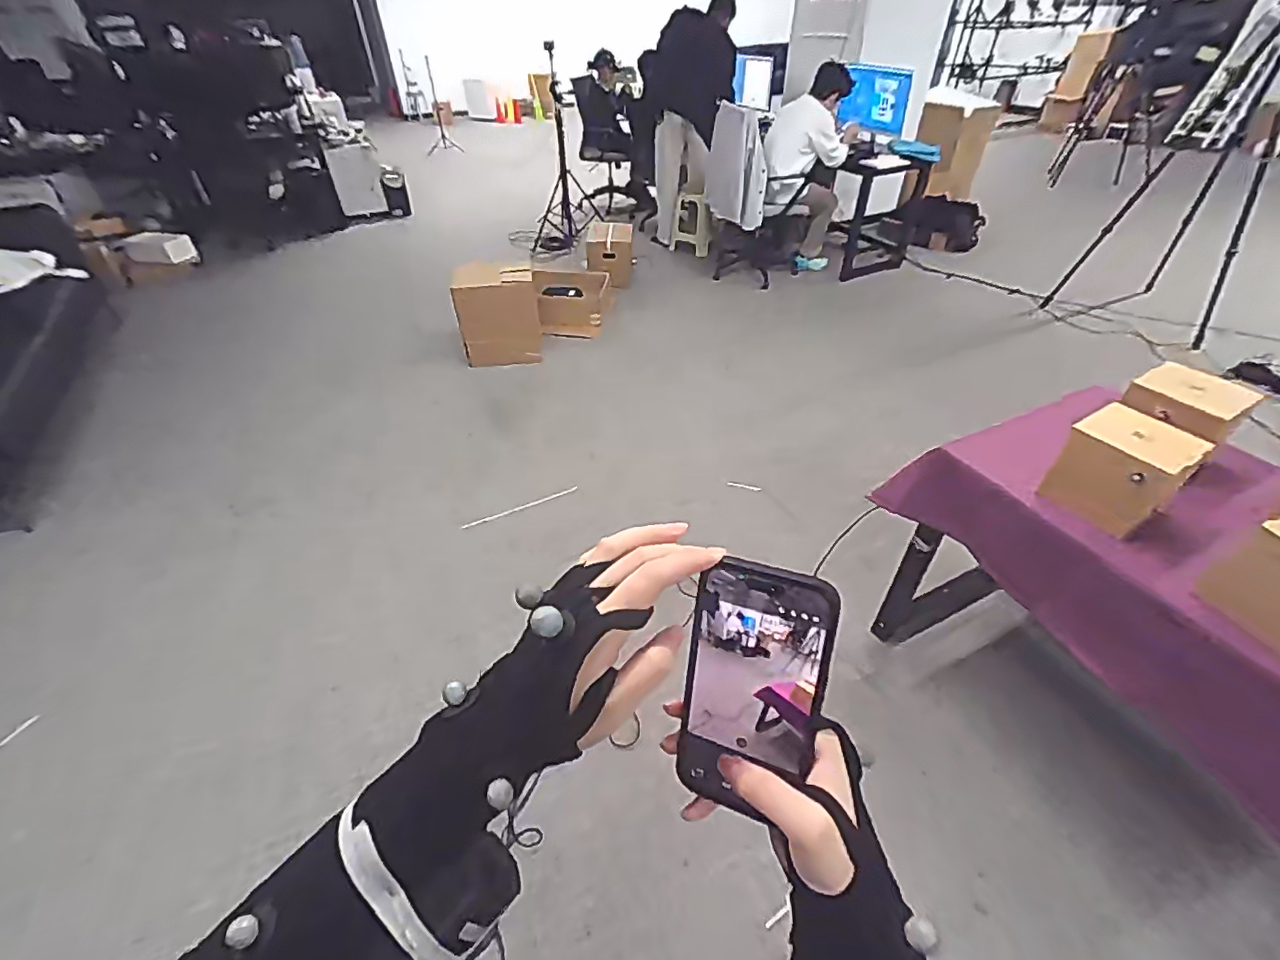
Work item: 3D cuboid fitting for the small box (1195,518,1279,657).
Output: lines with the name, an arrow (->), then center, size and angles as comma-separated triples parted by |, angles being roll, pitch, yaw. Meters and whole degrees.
small box -> 1.069, 0.170, 0.860 | 0.168, 0.176, 0.179 | -14, 44, -14

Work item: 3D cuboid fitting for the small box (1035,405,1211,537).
small box -> 0.947, -0.019, 1.078 | 0.168, 0.176, 0.179 | -22, 47, -23
